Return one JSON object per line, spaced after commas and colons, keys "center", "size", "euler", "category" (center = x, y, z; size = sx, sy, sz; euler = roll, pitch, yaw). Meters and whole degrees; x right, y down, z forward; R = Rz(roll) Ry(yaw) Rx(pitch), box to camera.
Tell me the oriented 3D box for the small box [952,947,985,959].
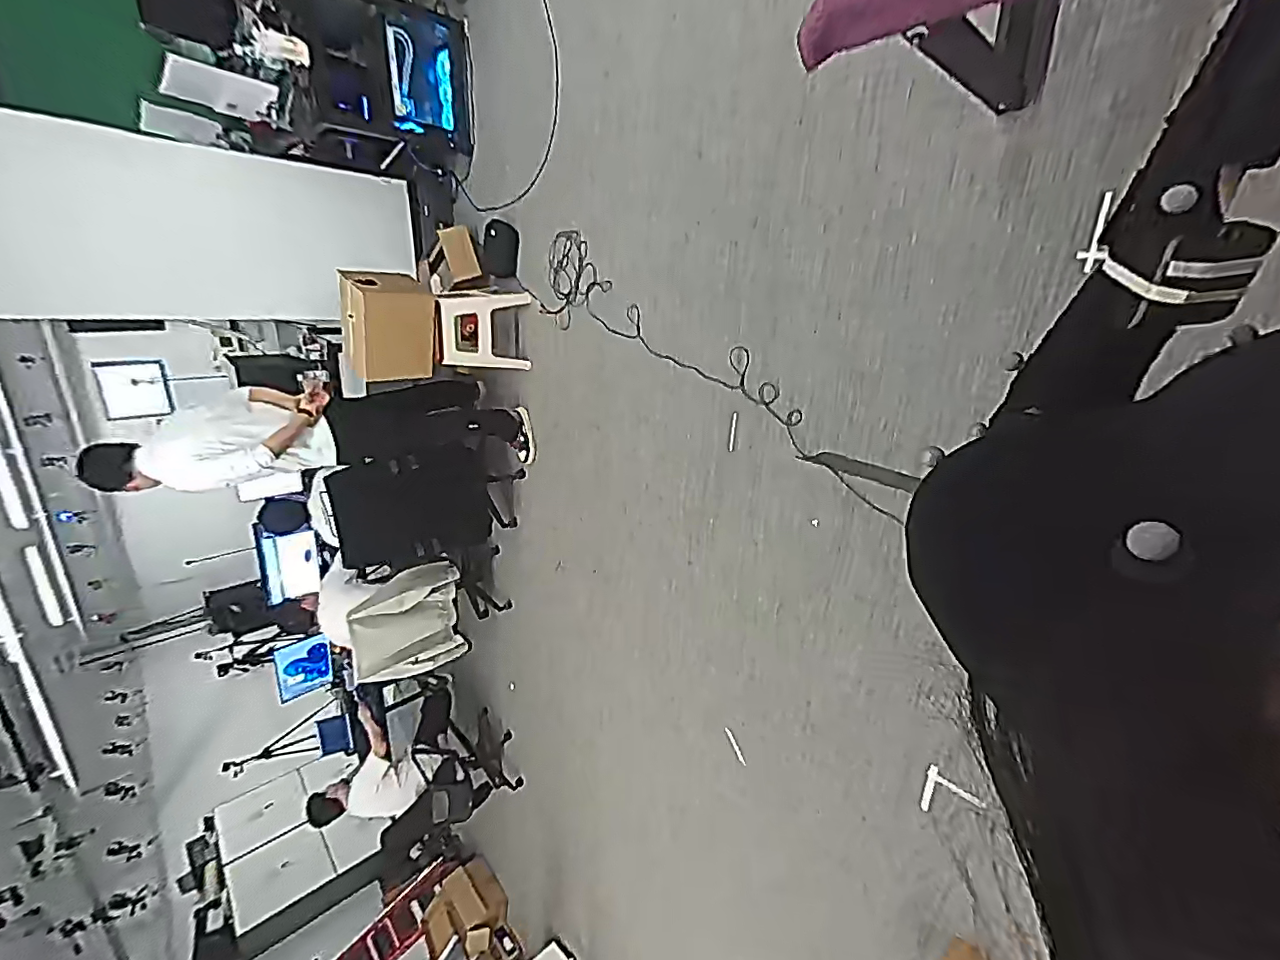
{"center": [0.991, 1.544, 1.598], "size": [0.179, 0.176, 0.168], "euler": [27, 120, 43], "category": "small box"}
